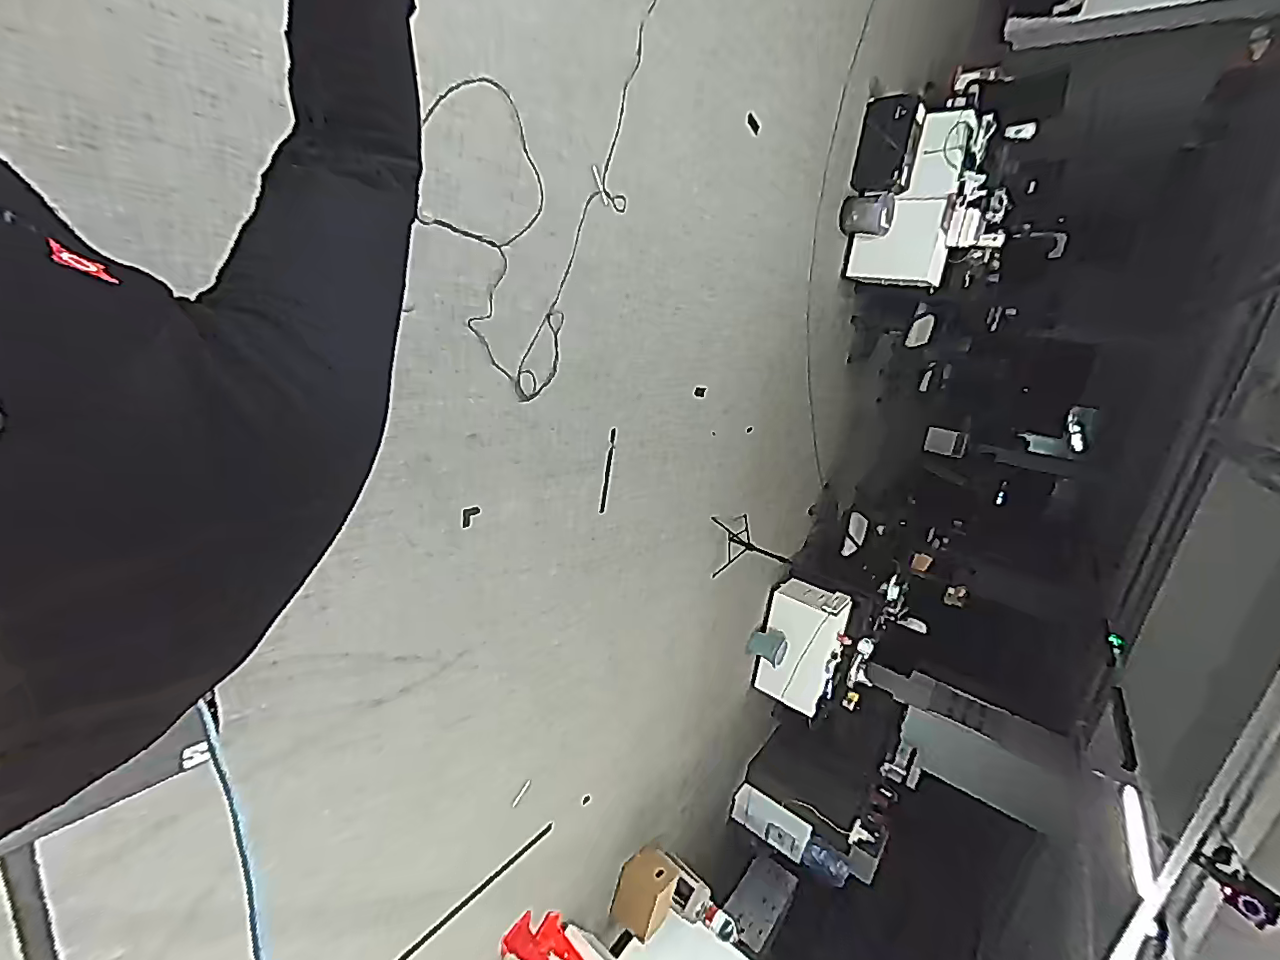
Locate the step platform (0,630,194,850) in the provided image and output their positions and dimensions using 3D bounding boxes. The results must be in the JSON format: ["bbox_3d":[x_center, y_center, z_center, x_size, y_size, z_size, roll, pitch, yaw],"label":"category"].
[{"bbox_3d":[-1.271,0.553,1.005,0.684,0.204,0.286,-16,119,-49],"label":"step platform"}]
